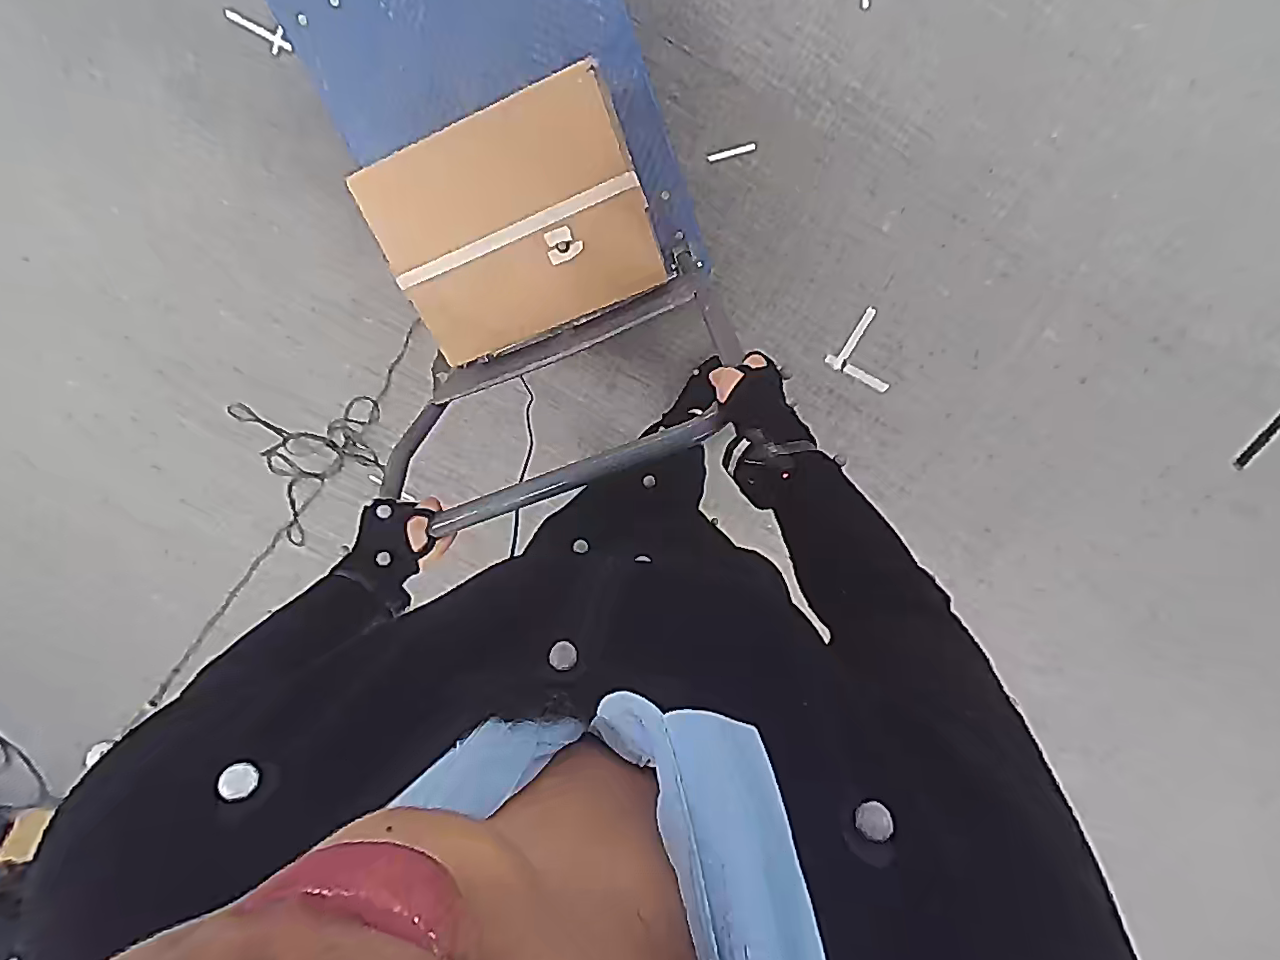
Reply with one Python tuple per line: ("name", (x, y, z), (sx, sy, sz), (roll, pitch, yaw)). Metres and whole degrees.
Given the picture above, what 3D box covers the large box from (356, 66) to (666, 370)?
("large box", (-0.196, -0.450, 0.977), (0.408, 0.320, 0.320), (-20, 117, 10))
